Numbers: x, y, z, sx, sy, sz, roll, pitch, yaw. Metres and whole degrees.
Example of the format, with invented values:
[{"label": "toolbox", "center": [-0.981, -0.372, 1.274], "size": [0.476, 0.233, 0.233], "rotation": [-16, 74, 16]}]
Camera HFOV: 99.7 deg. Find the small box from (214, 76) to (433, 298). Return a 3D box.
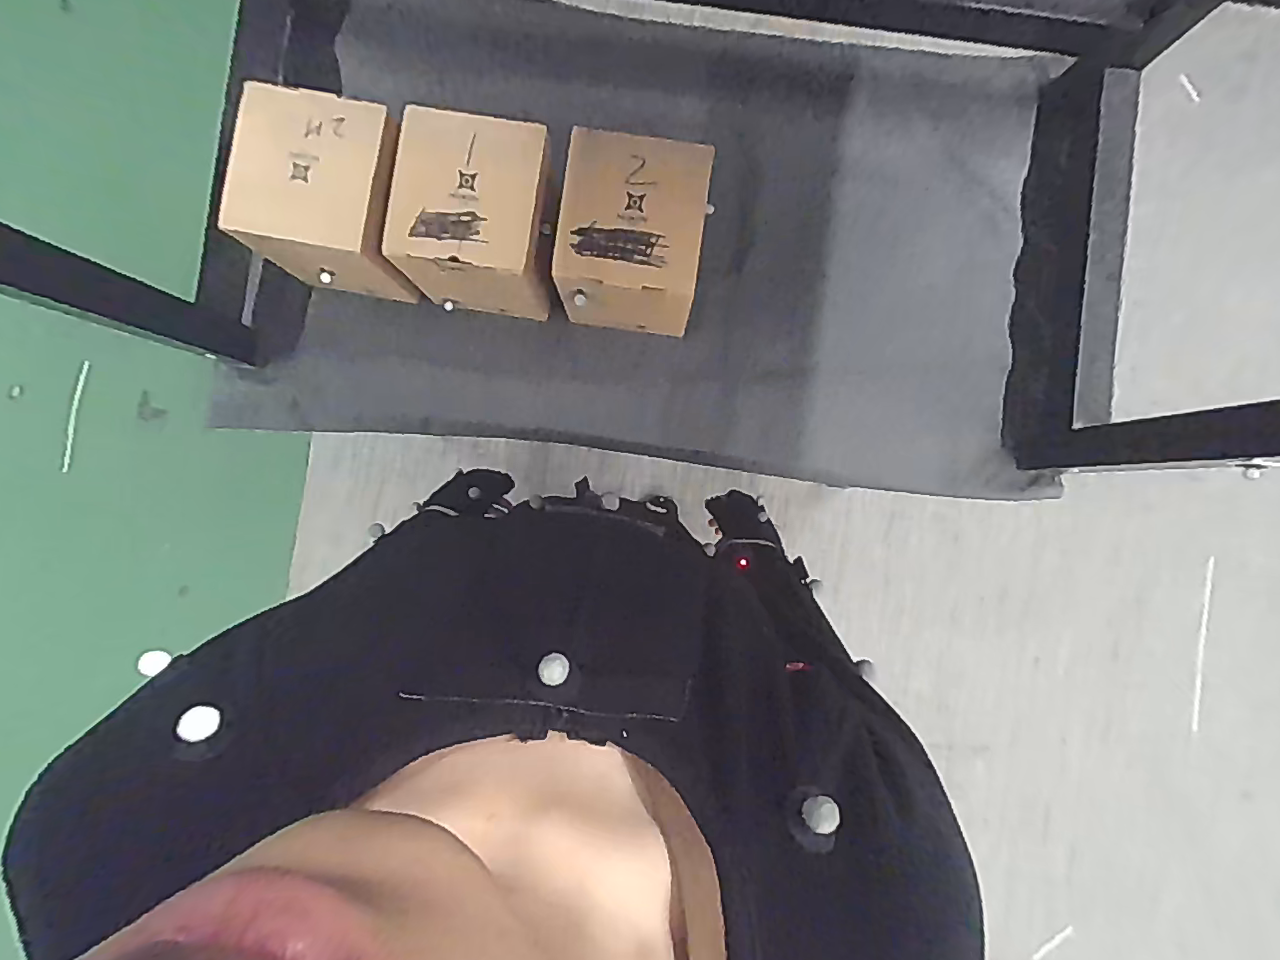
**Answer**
[{"label": "small box", "center": [-0.380, -0.350, 0.682], "size": [0.168, 0.176, 0.179], "rotation": [10, 88, -2]}]
